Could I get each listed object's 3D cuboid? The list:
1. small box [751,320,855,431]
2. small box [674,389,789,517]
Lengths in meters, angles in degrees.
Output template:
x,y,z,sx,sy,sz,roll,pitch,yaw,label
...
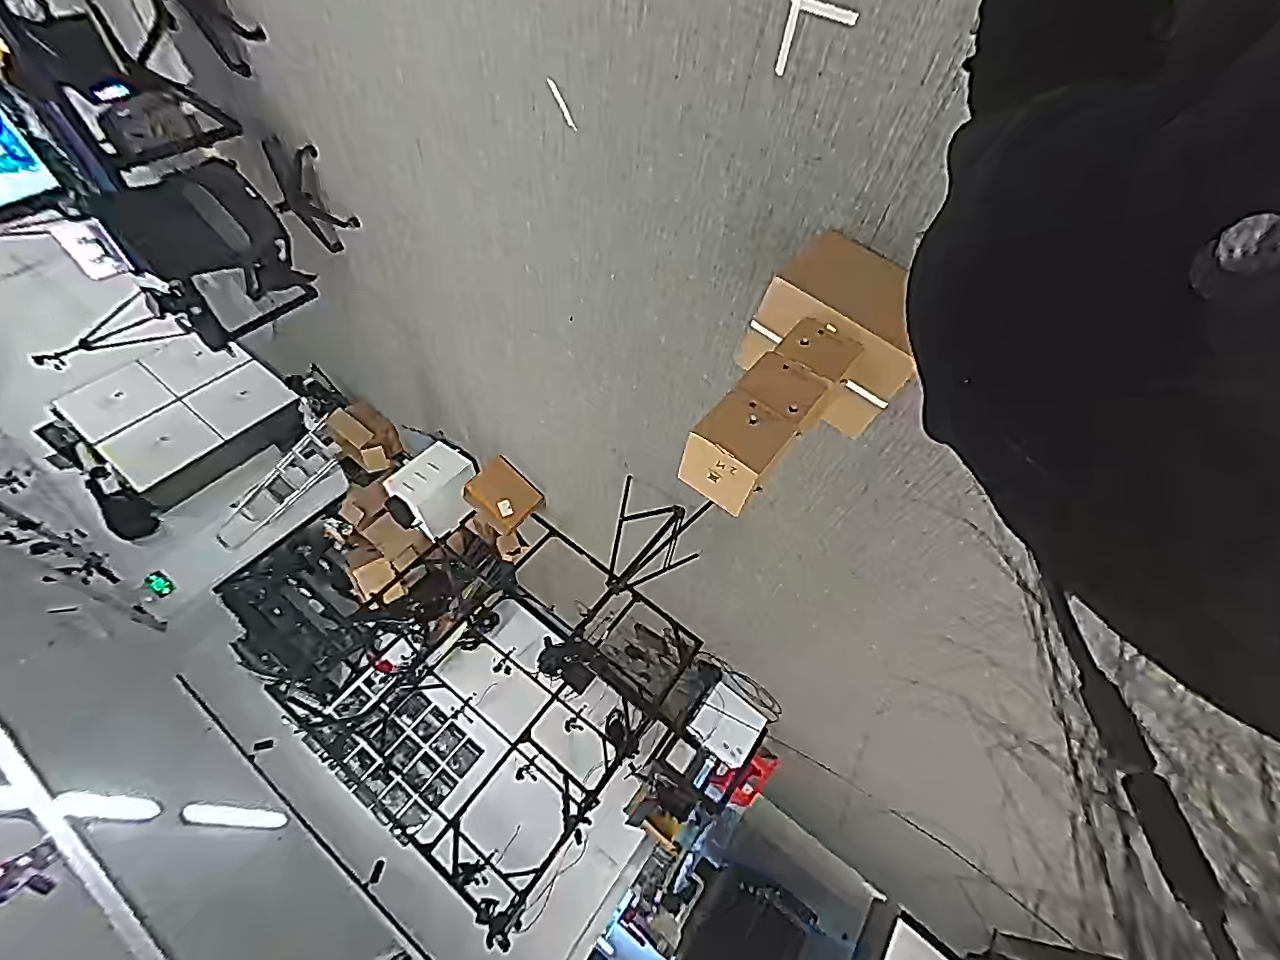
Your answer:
x,y,z,sx,sy,sz,roll,pitch,yaw,label
0.404,-0.262,1.332,0.168,0.176,0.179,34,150,17,small box
0.199,-0.060,1.173,0.168,0.176,0.179,35,149,15,small box
